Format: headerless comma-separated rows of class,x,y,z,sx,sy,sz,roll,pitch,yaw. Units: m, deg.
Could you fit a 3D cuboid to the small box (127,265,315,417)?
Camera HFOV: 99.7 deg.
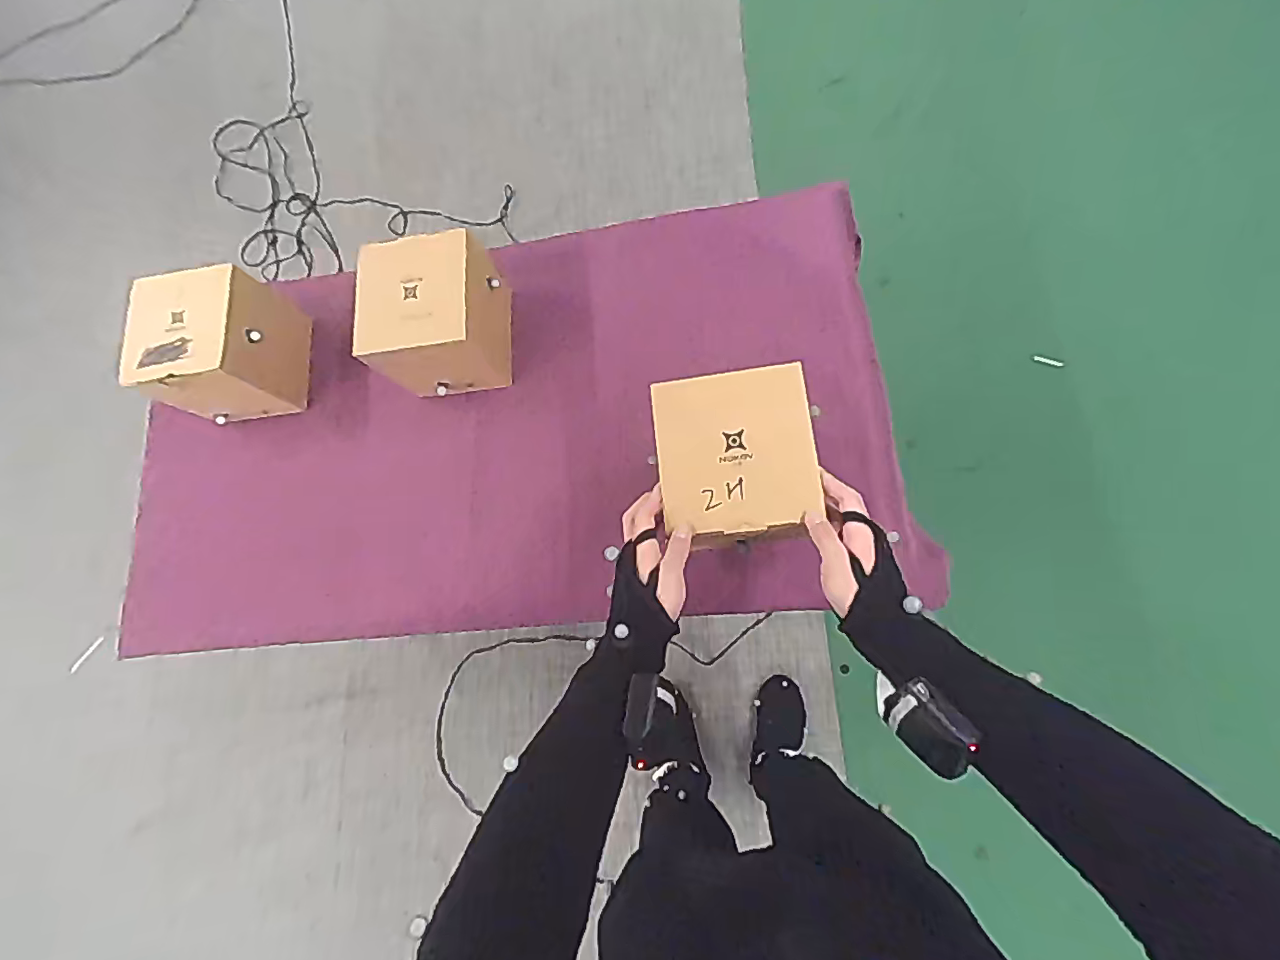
small box,-0.656,-0.210,0.868,0.168,0.176,0.179,-6,75,6

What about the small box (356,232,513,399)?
small box,-0.302,-0.242,0.827,0.168,0.176,0.179,-5,77,8

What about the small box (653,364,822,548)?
small box,0.111,-0.018,0.650,0.168,0.176,0.179,-6,78,9
